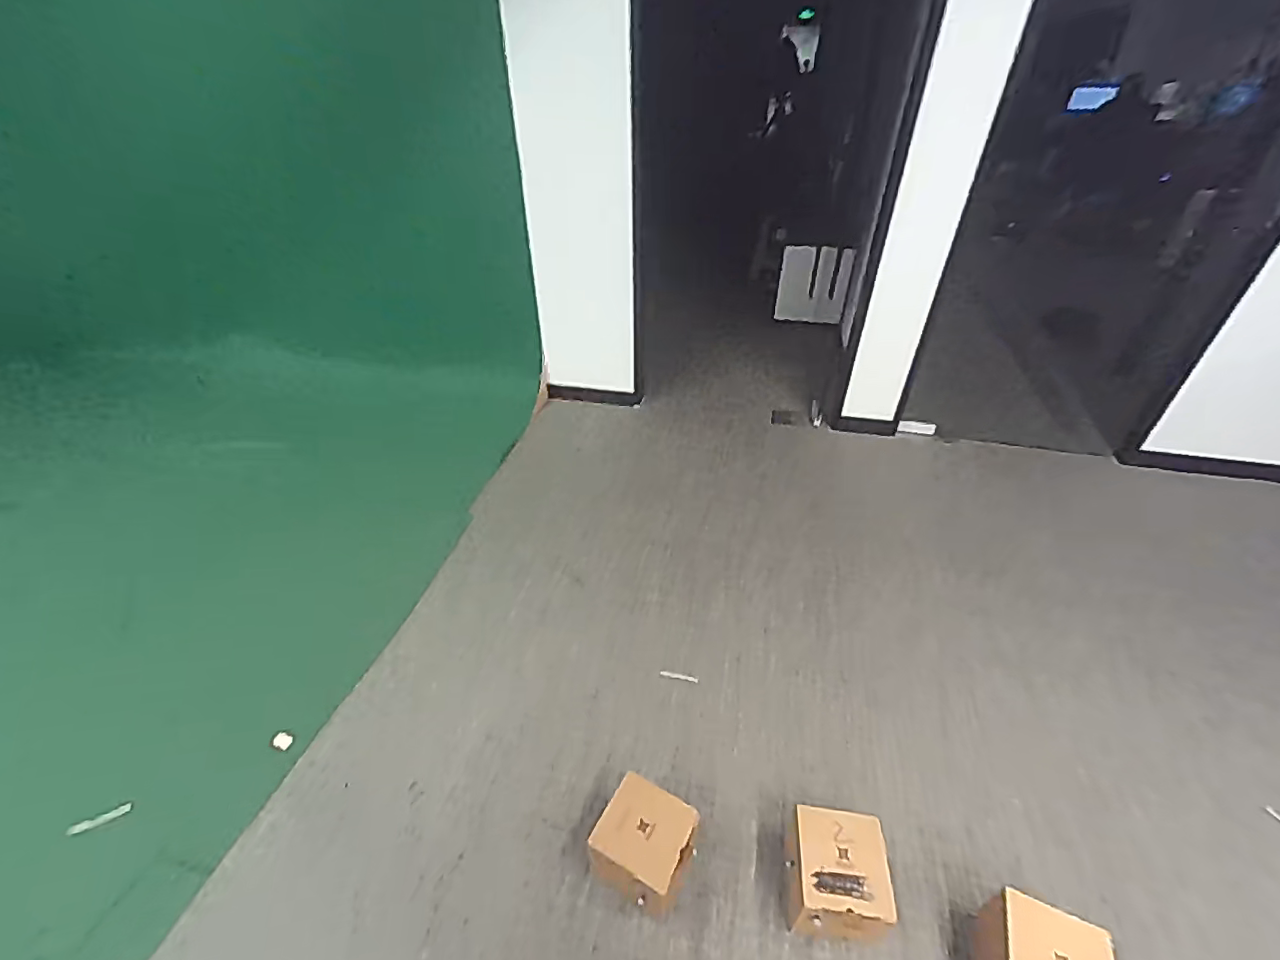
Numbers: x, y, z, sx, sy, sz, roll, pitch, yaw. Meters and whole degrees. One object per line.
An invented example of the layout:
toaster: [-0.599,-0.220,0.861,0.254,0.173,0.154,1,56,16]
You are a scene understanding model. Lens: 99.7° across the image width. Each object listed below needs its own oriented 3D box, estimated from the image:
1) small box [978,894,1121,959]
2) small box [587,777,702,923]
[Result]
small box: [0.715,0.887,0.949,0.168,0.176,0.179,16,41,19]
small box: [0.012,0.762,1.111,0.179,0.176,0.168,18,40,24]
